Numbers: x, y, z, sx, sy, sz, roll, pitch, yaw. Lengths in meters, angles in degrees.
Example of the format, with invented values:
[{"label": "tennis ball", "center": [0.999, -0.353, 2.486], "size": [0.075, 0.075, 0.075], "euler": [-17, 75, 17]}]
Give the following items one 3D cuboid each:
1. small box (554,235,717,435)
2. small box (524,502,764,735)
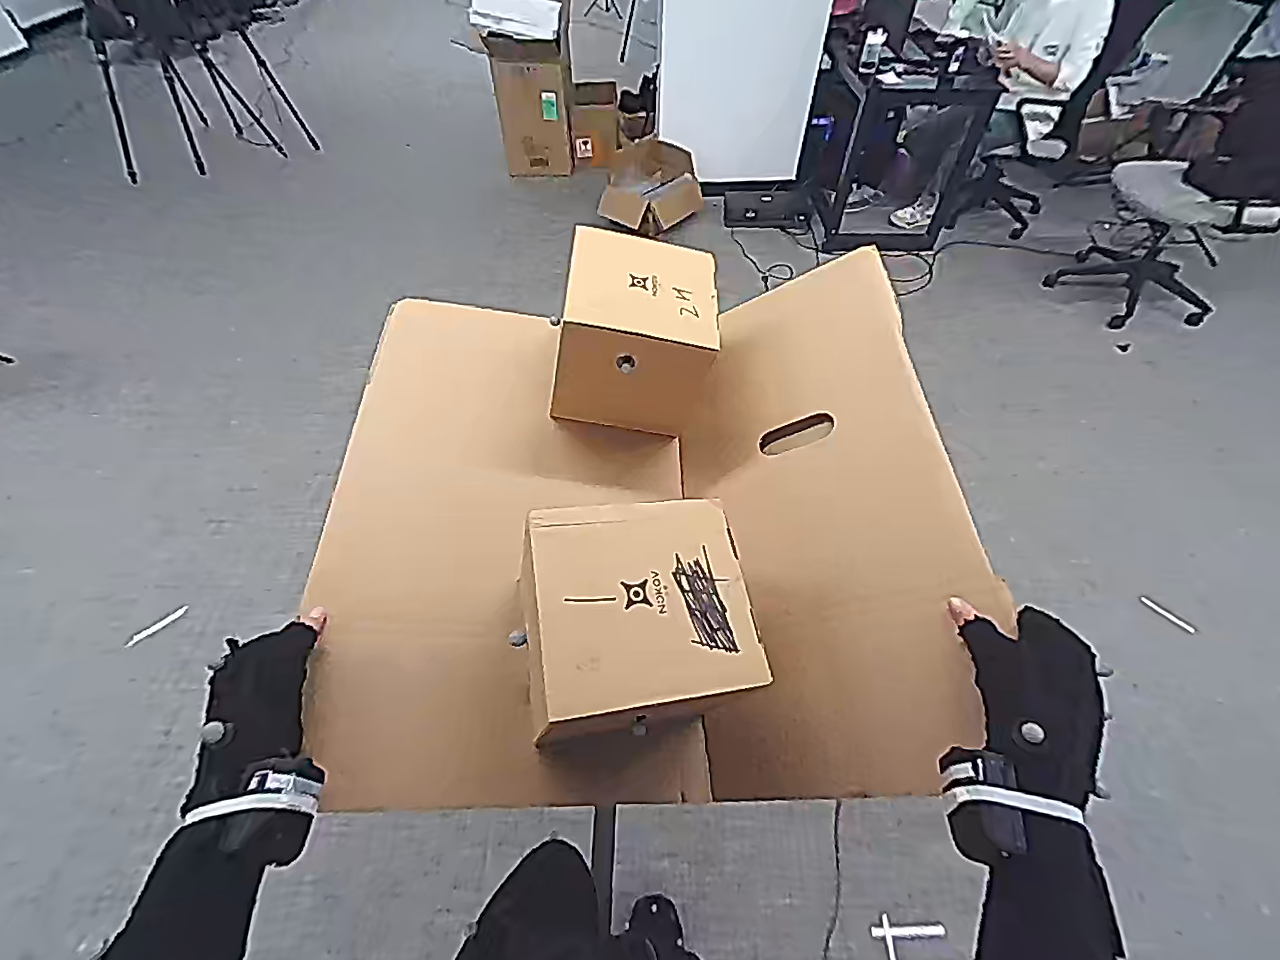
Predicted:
[{"label": "small box", "center": [-0.011, -0.177, 0.696], "size": [0.179, 0.176, 0.168], "euler": [9, 58, -10]}, {"label": "small box", "center": [-0.013, 0.134, 0.511], "size": [0.179, 0.176, 0.168], "euler": [-3, 61, -16]}]
